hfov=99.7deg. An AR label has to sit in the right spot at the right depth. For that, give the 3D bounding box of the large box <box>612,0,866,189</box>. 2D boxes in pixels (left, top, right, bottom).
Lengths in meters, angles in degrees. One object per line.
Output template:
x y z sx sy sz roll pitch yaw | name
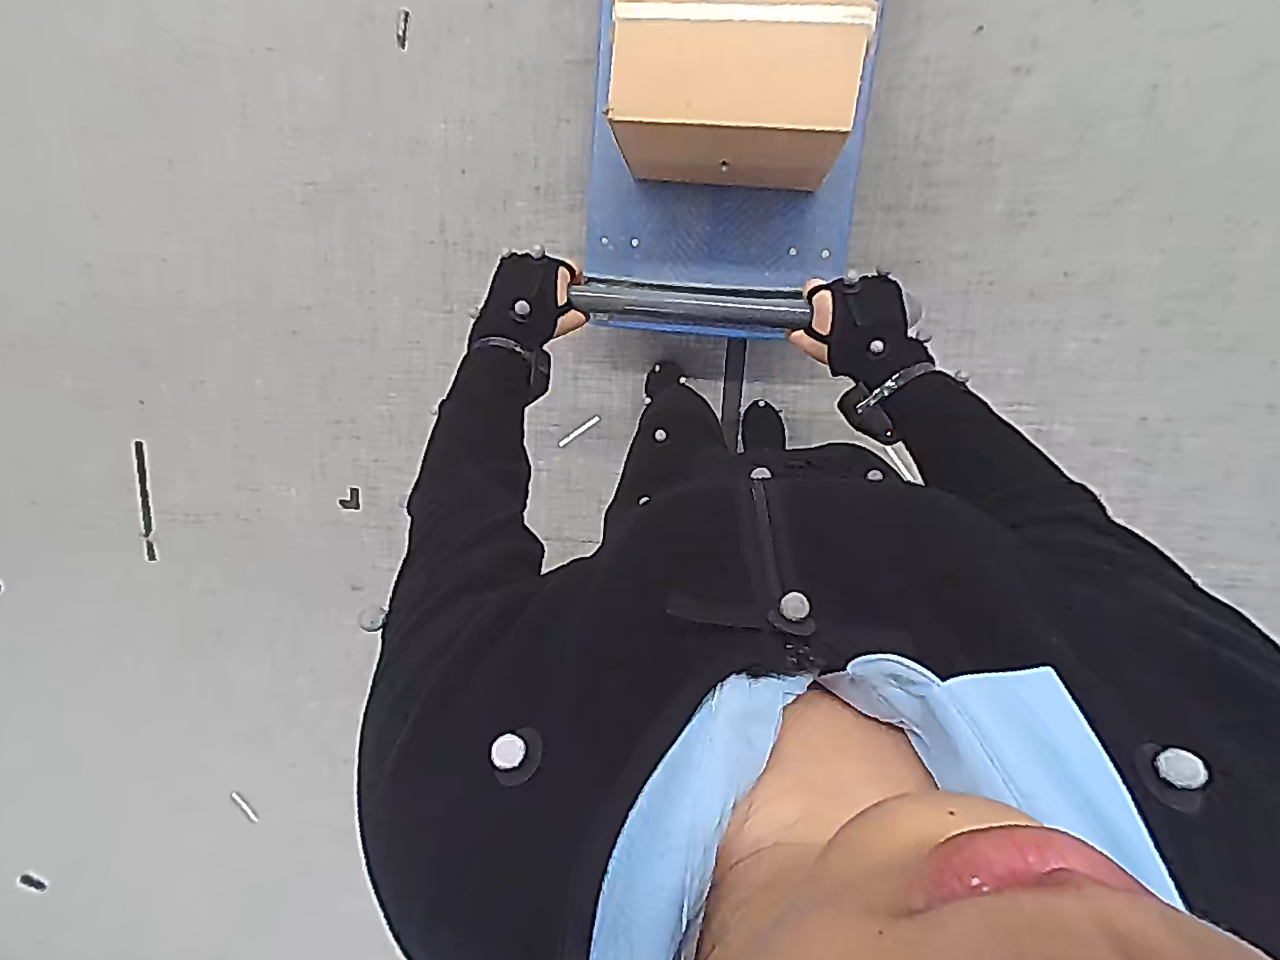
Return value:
0.182 -0.768 1.024 0.408 0.320 0.320 7 102 7 | large box
